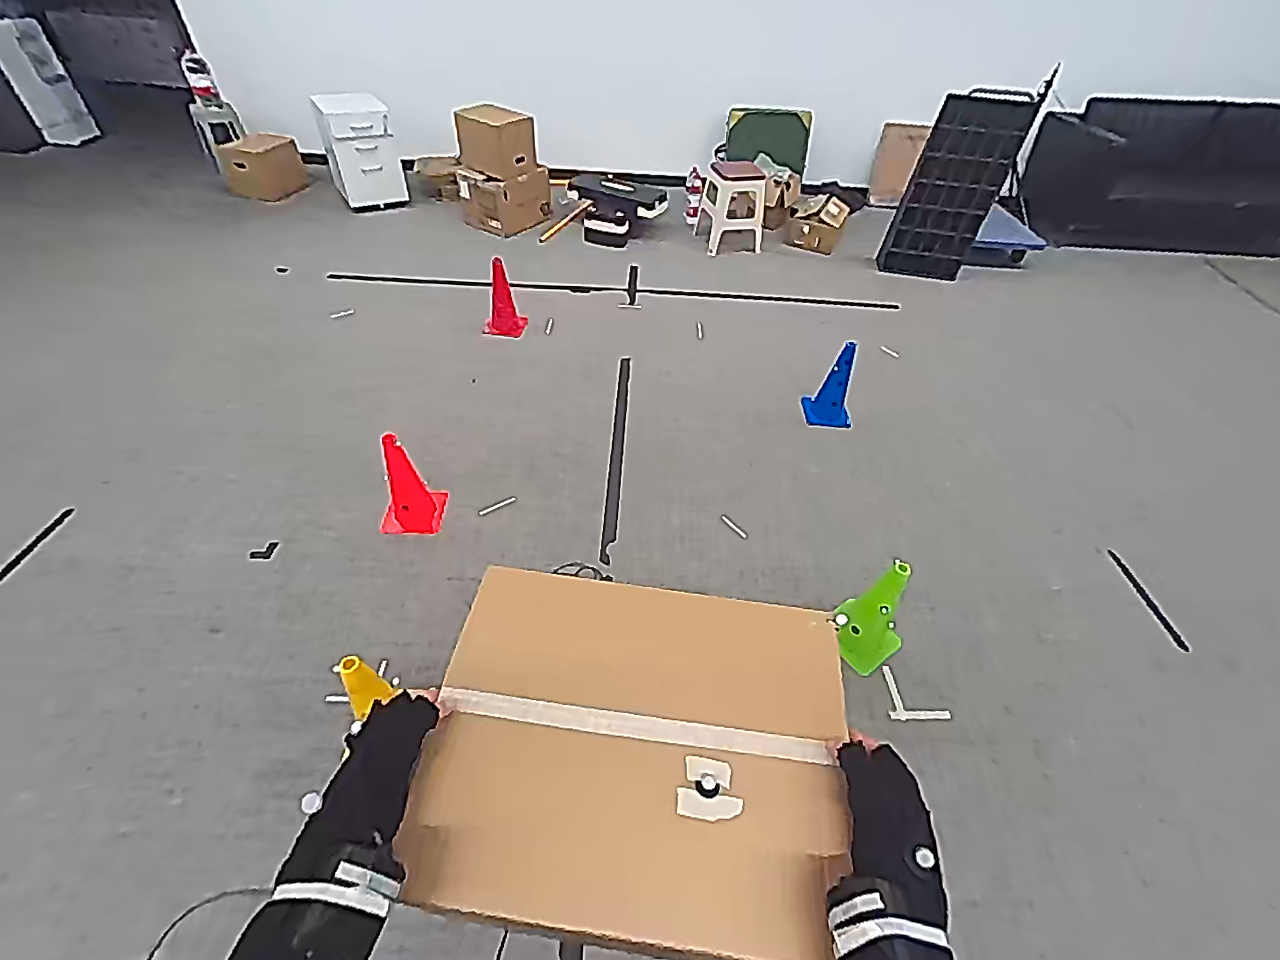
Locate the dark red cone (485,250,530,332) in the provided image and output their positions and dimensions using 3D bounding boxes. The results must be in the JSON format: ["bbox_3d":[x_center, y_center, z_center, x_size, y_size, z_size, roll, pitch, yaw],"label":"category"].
[{"bbox_3d":[-0.676,-0.946,2.698,0.201,0.394,0.202,8,46,2],"label":"dark red cone"}]

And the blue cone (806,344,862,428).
[{"bbox_3d":[0.871,-0.420,2.350,0.192,0.380,0.193,6,46,0],"label":"blue cone"}]

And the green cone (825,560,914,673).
[{"bbox_3d":[0.689,0.356,1.546,0.202,0.368,0.200,-25,53,-28],"label":"green cone"}]

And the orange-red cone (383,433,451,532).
[{"bbox_3d":[-0.782,-0.010,1.801,0.198,0.360,0.199,1,47,-2],"label":"orange-red cone"}]

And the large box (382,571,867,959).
[{"bbox_3d":[-0.008,0.342,0.640,0.408,0.320,0.320,8,48,3],"label":"large box"}]
